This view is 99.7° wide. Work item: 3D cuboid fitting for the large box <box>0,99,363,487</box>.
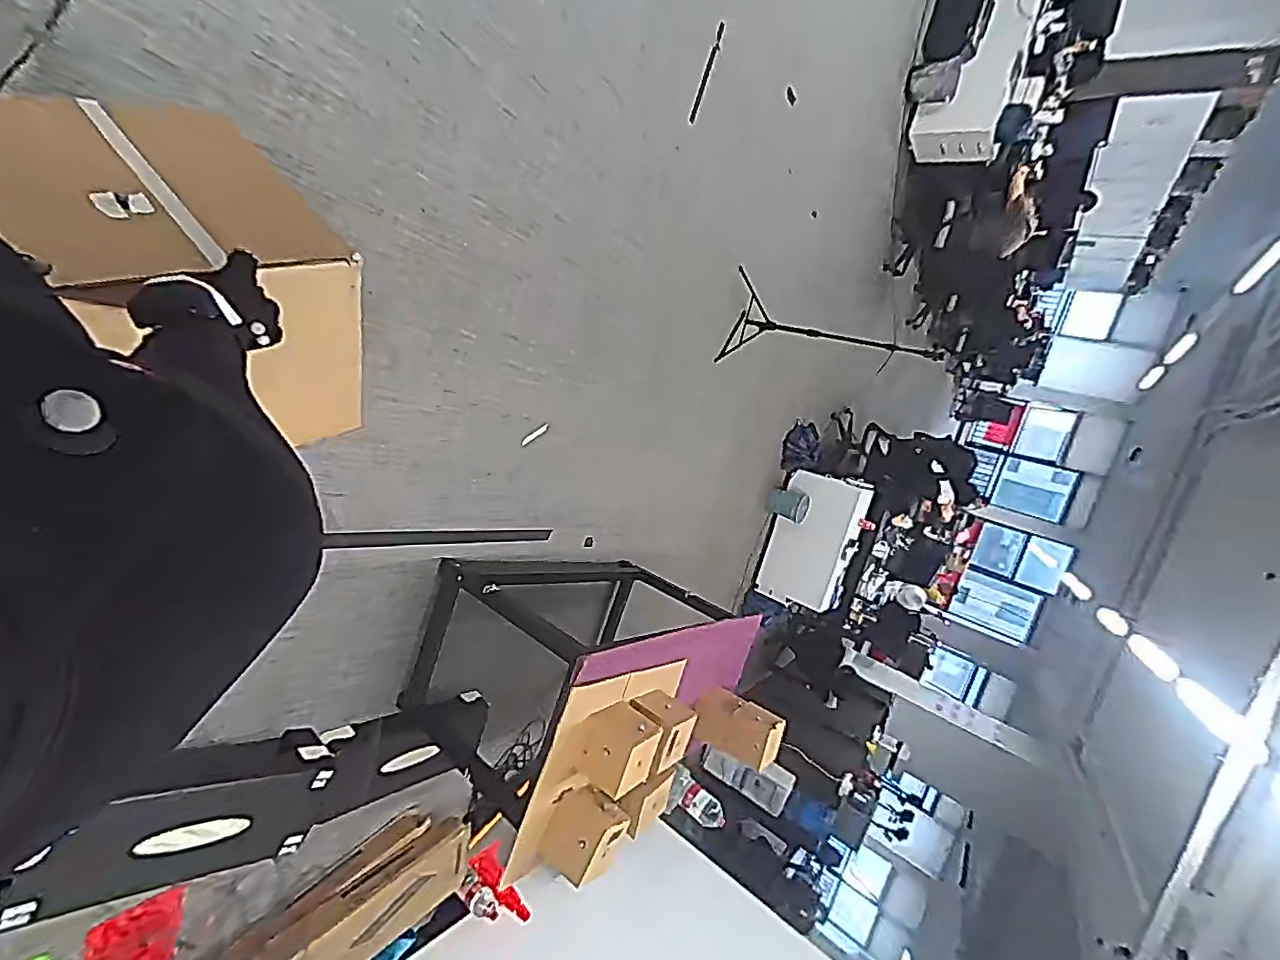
[{"bbox_3d":[-0.655,-0.269,0.773,0.320,0.408,0.320,-31,160,-41],"label":"large box"}]
